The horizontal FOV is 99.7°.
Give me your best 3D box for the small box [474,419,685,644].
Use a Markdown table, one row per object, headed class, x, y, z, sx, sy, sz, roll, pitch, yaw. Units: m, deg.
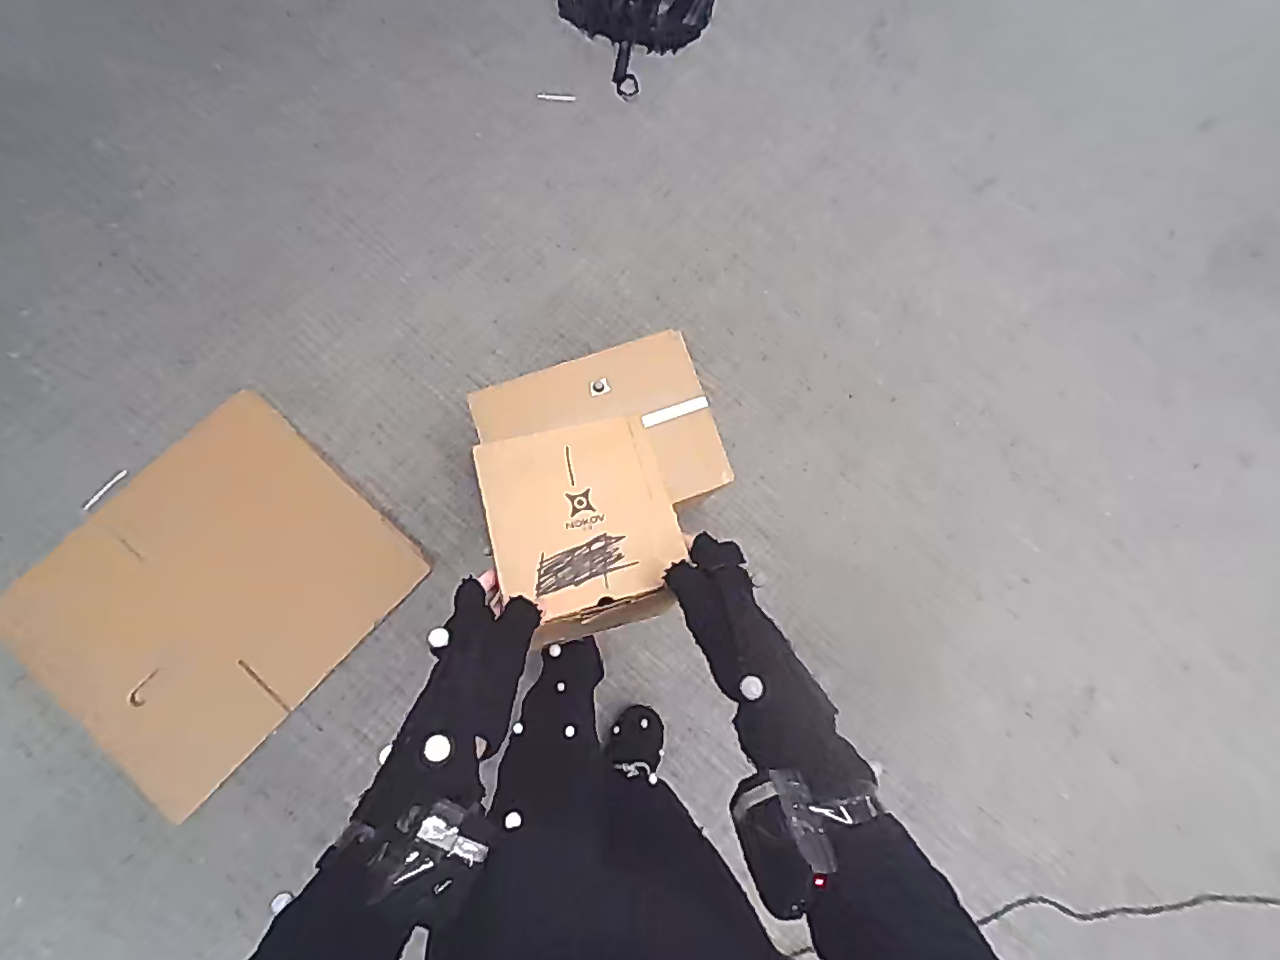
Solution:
| class | x | y | z | sx | sy | sz | roll | pitch | yaw |
| --- | --- | --- | --- | --- | --- | --- | --- | --- | --- |
| small box | -0.064 | 0.065 | 0.569 | 0.168 | 0.176 | 0.179 | -13 | 67 | -12 |
